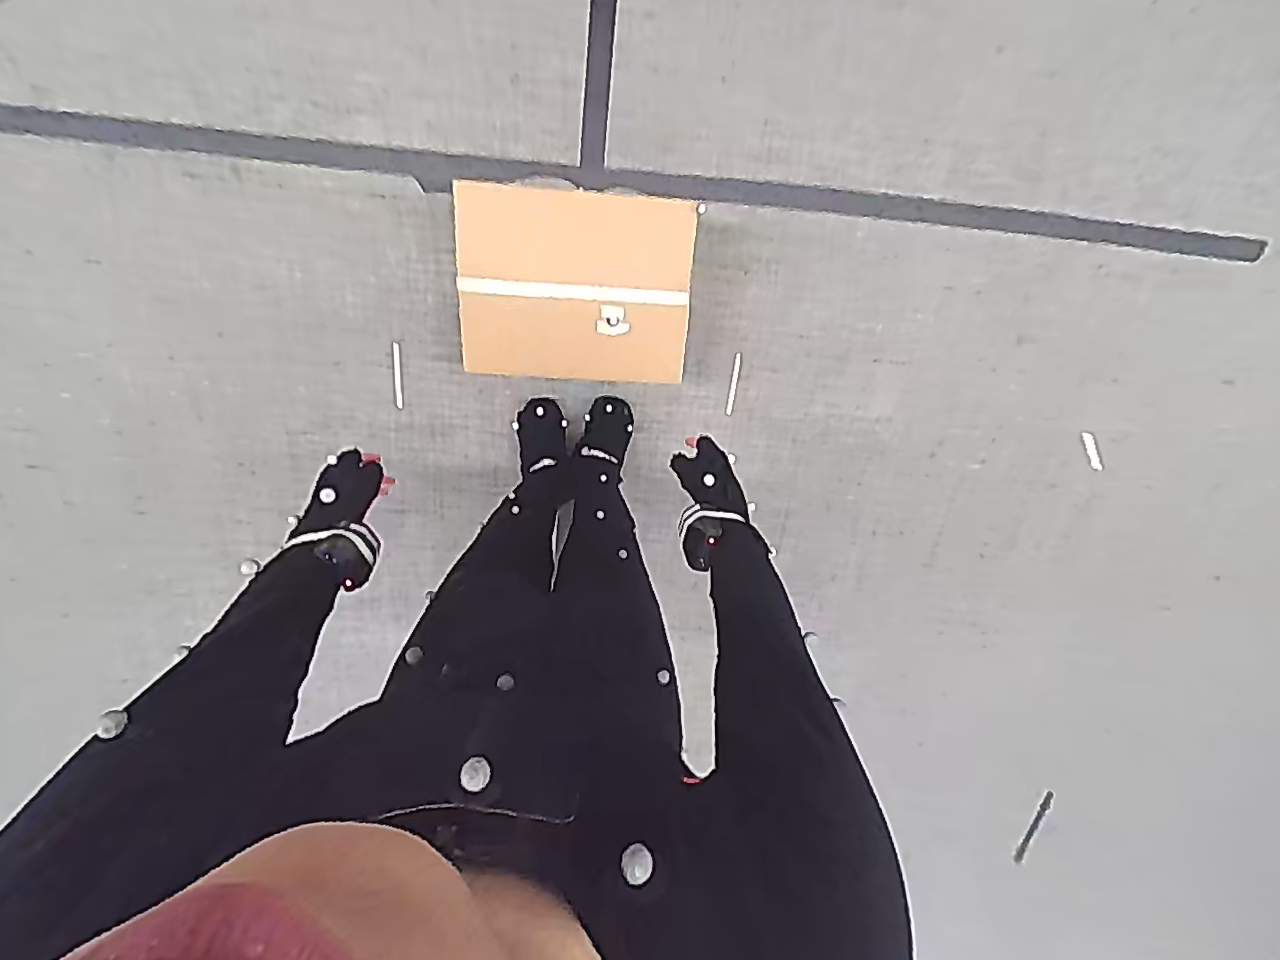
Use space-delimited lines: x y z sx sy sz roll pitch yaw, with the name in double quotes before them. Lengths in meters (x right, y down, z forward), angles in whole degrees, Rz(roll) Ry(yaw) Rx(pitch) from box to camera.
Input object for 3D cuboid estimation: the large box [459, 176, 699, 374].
"large box" -0.119 -0.401 1.084 0.408 0.320 0.320 2 113 -6
